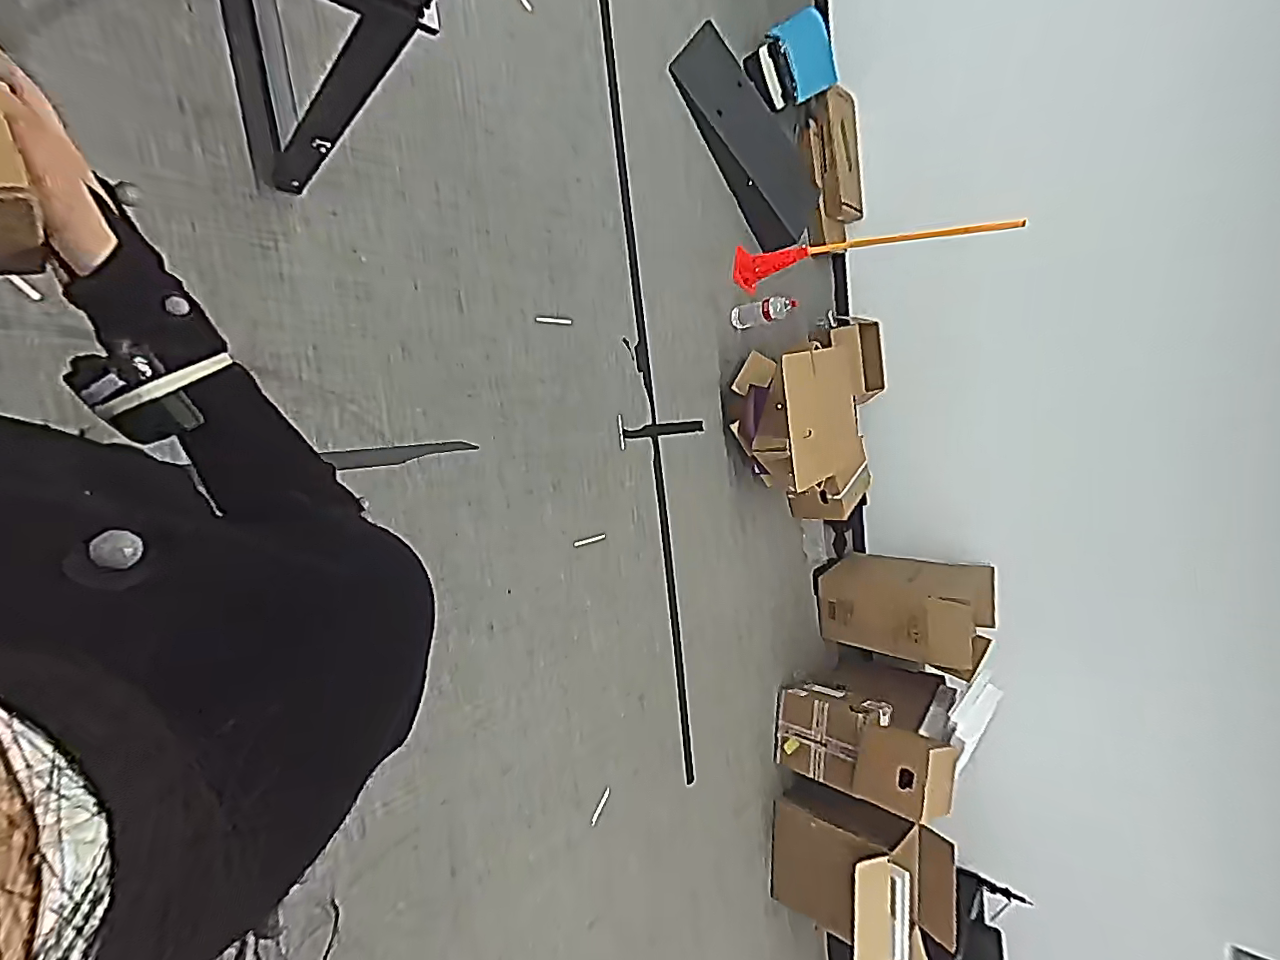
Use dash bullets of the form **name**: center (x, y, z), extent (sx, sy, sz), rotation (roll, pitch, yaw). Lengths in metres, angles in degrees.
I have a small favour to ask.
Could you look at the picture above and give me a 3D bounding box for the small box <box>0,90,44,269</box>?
- **small box**: center (-0.412, -0.196, 0.238), extent (0.168, 0.176, 0.179), rotation (-26, 110, -44)
